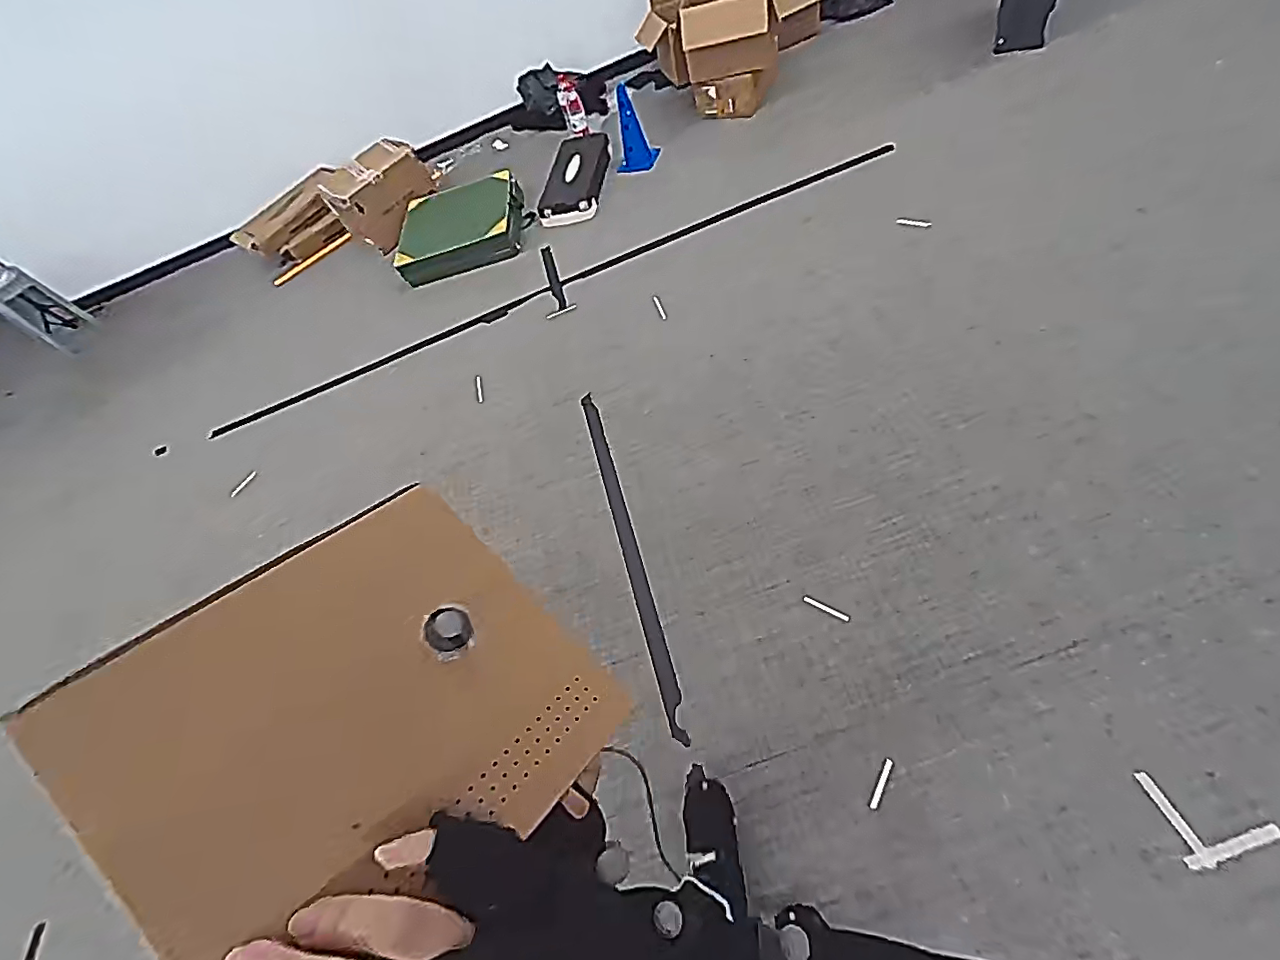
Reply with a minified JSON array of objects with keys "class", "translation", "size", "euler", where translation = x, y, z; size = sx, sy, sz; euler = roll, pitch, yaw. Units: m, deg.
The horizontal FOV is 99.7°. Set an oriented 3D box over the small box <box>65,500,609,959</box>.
[{"class":"small box","translation":[-0.136,0.151,0.308],"size":[0.176,0.168,0.179],"euler":[42,52,11]}]
